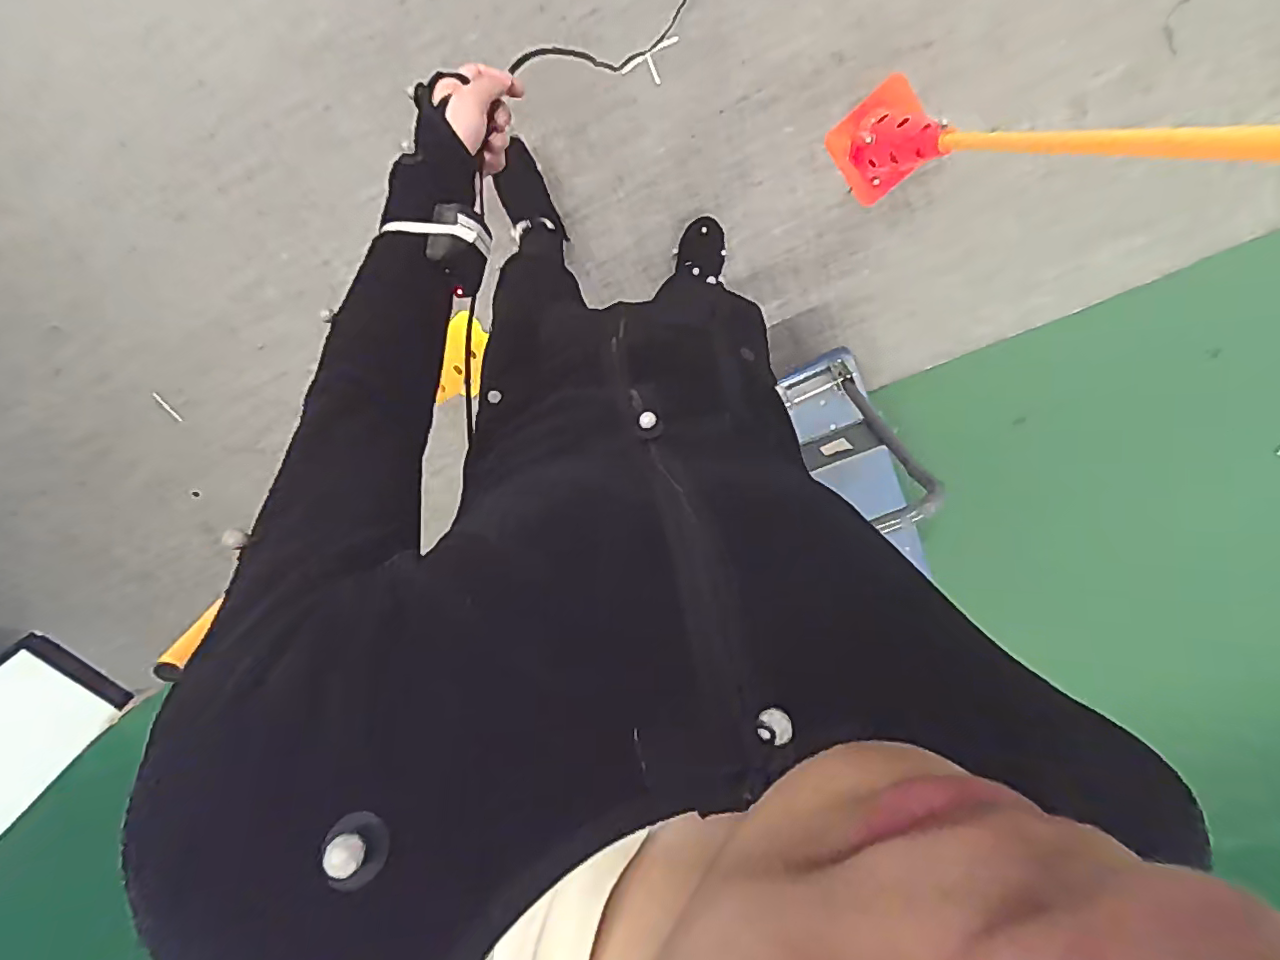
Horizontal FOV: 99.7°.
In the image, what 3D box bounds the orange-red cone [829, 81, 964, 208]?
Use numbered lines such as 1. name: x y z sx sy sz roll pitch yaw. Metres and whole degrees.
1. orange-red cone: 0.560 -0.684 1.107 0.199 0.360 0.198 -36 114 20
